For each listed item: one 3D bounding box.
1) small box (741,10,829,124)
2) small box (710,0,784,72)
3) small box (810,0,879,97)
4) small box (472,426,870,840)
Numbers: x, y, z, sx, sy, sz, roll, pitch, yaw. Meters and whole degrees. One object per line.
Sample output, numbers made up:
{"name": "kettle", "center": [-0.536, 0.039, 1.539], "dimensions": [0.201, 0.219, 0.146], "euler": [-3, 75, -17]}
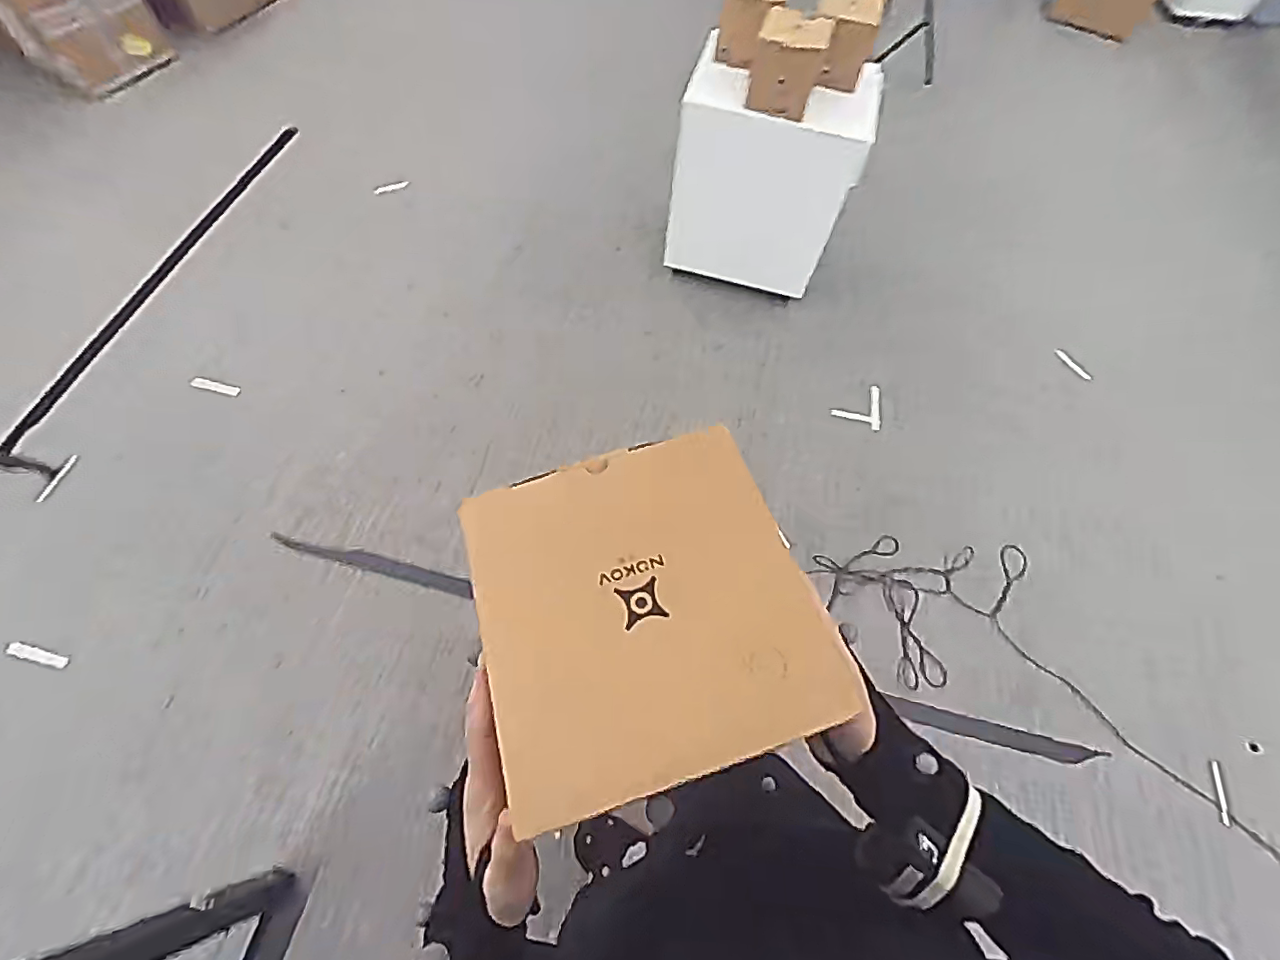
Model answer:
{"name": "small box", "center": [0.372, -1.073, 1.412], "dimensions": [0.168, 0.176, 0.179], "euler": [17, 63, 4]}
{"name": "small box", "center": [0.300, -1.277, 1.507], "dimensions": [0.168, 0.176, 0.179], "euler": [17, 63, 4]}
{"name": "small box", "center": [0.540, -1.207, 1.492], "dimensions": [0.168, 0.176, 0.179], "euler": [14, 65, 5]}
{"name": "small box", "center": [0.009, 0.099, 0.347], "dimensions": [0.168, 0.176, 0.179], "euler": [-16, 59, -7]}
